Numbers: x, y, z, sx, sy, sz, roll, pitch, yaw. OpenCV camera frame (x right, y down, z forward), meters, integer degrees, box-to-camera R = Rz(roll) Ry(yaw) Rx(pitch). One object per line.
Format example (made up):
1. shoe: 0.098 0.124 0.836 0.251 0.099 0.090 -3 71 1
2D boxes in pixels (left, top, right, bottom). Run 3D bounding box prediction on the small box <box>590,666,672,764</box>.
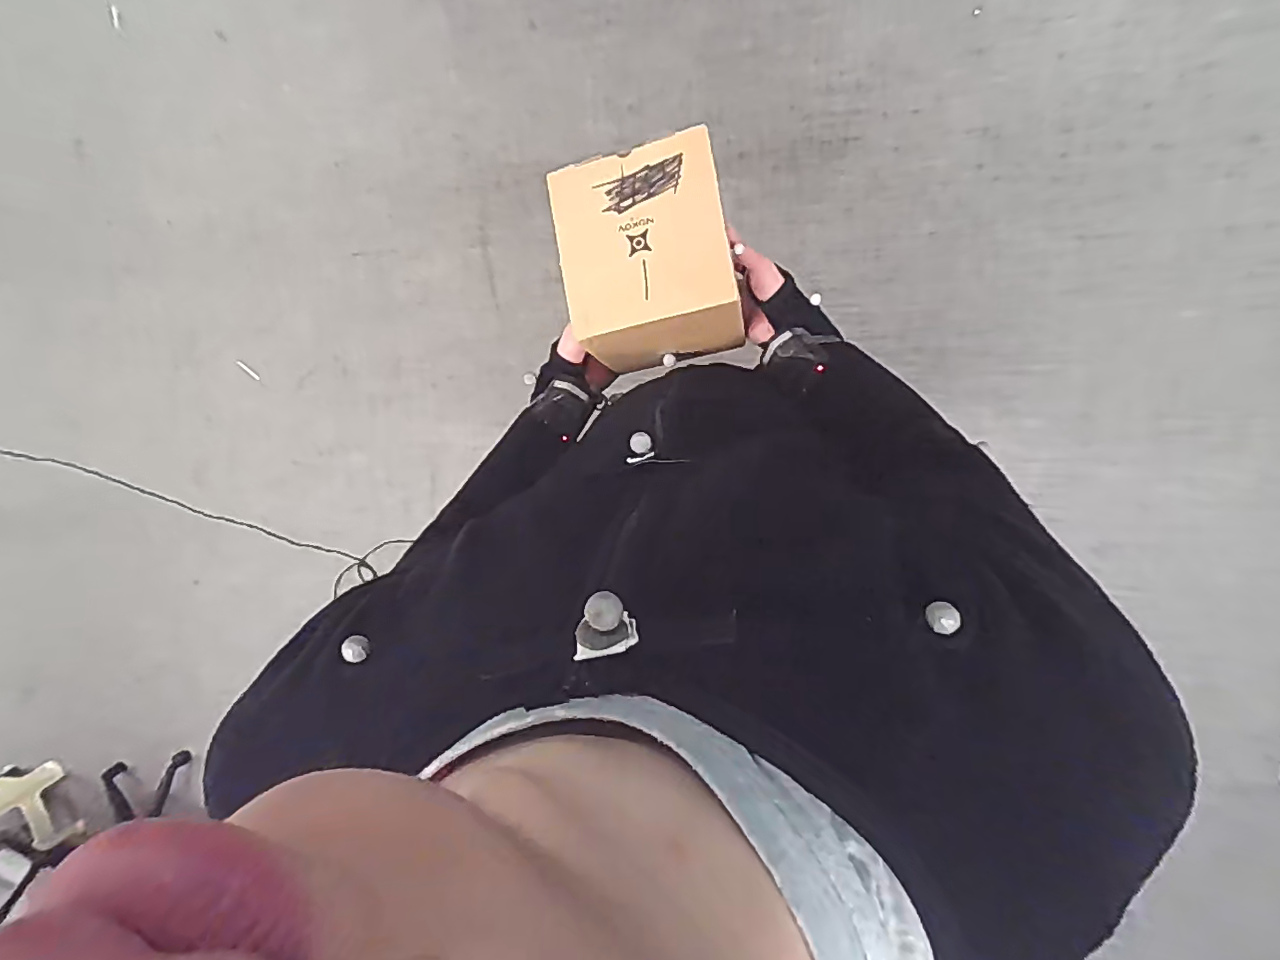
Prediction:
1. small box: -0.019 0.705 1.643 0.168 0.176 0.179 43 107 2
